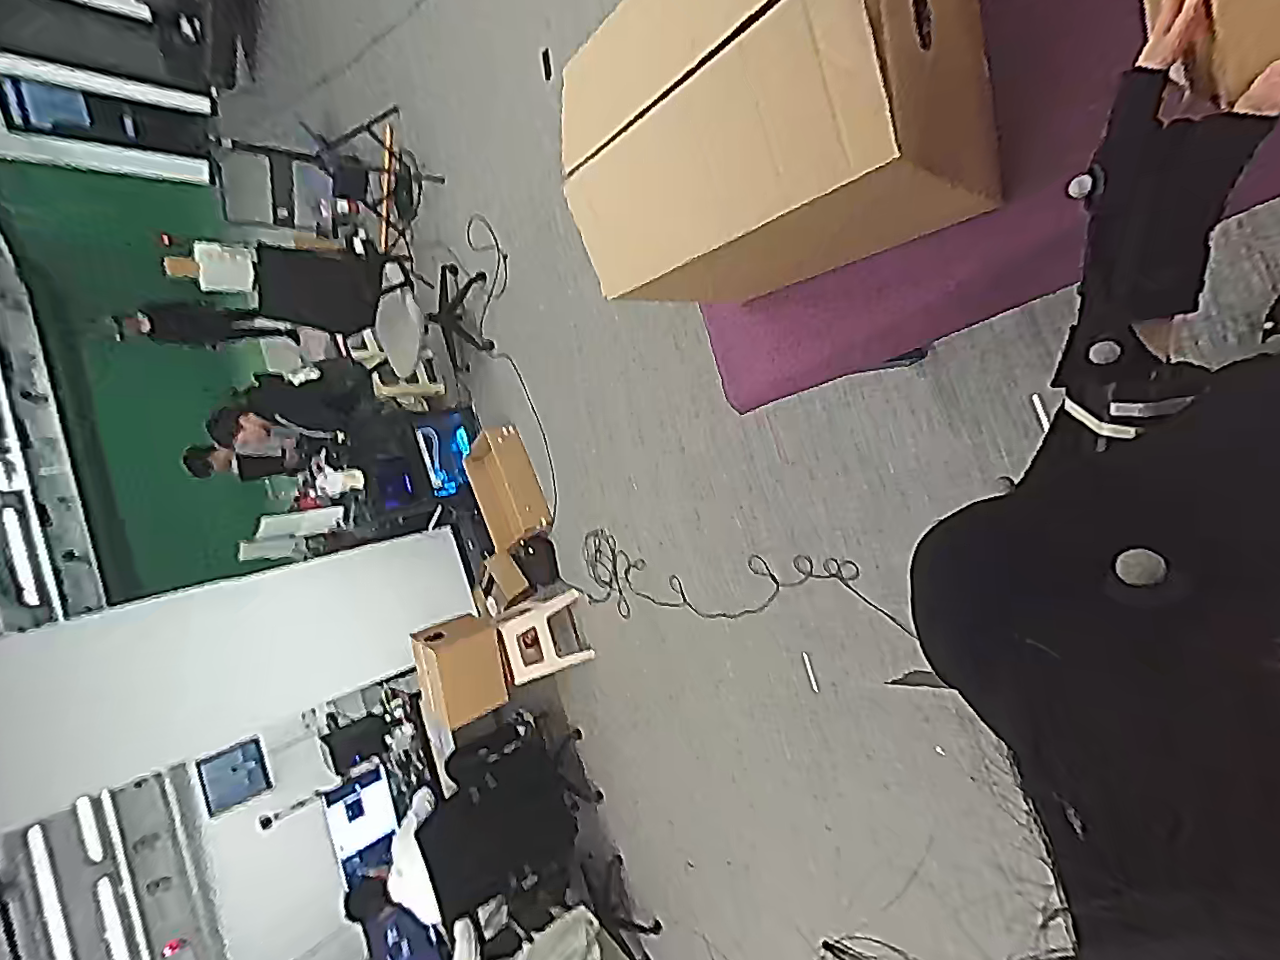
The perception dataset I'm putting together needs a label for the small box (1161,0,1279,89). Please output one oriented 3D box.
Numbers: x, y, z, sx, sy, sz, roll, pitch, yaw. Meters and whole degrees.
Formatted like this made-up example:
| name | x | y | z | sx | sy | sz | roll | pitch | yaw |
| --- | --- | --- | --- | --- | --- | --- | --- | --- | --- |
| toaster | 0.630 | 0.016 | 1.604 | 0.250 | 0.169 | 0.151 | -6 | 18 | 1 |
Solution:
| name | x | y | z | sx | sy | sz | roll | pitch | yaw |
| --- | --- | --- | --- | --- | --- | --- | --- | --- | --- |
| small box | 0.353 | -0.327 | 0.239 | 0.168 | 0.176 | 0.179 | -13 | 126 | 39 |
